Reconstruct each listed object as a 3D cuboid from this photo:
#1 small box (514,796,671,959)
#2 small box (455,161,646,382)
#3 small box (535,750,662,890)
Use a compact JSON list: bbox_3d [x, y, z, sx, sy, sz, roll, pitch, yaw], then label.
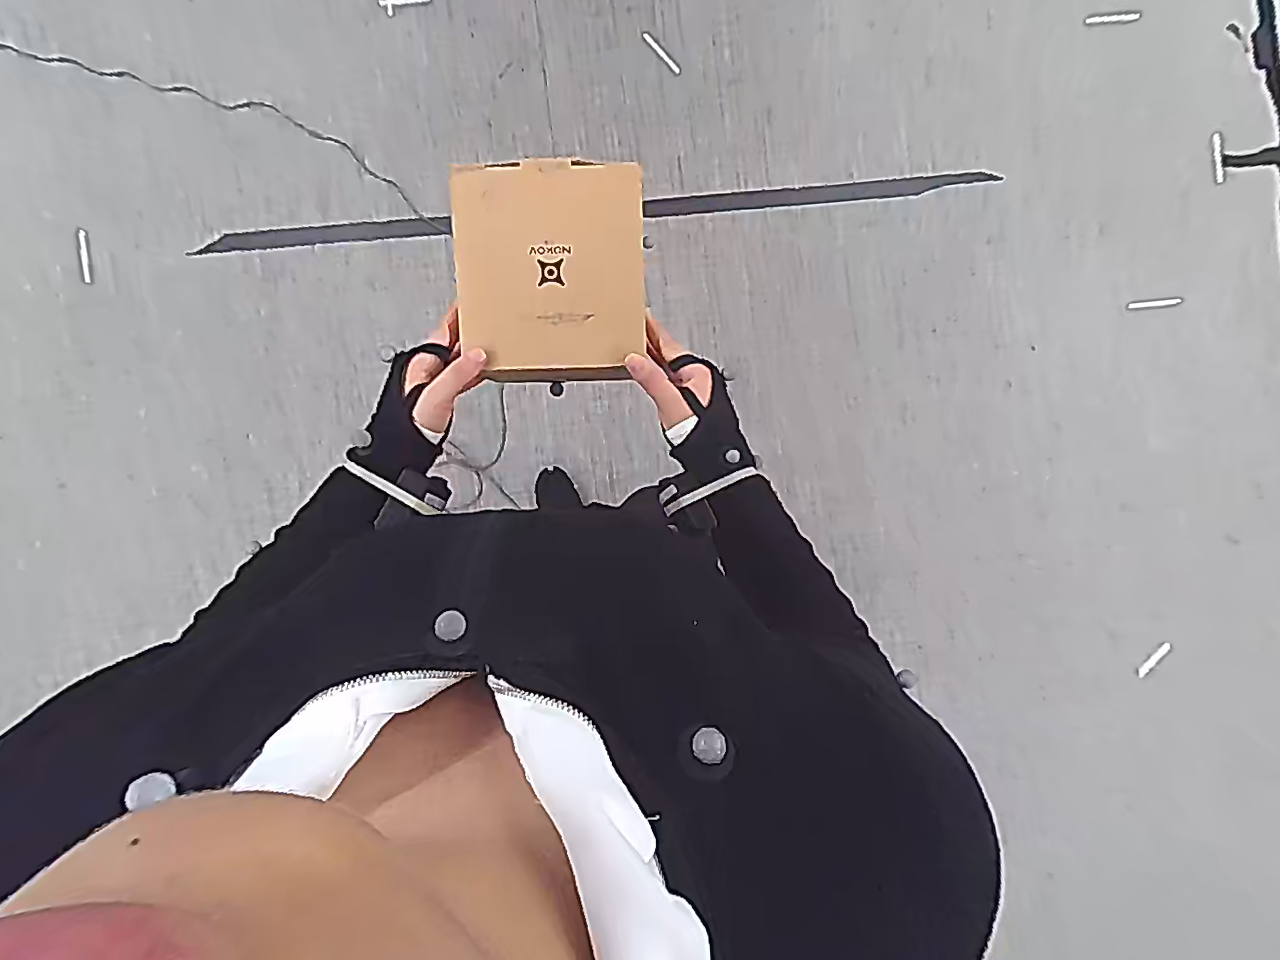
[{"bbox_3d":[-0.063,0.591,0.776,0.179,0.176,0.168,-15,87,-1],"label":"small box"},{"bbox_3d":[-0.082,-0.198,0.558,0.168,0.176,0.179,-2,96,-2],"label":"small box"},{"bbox_3d":[-0.066,0.604,0.941,0.179,0.176,0.168,-15,88,-1],"label":"small box"}]
